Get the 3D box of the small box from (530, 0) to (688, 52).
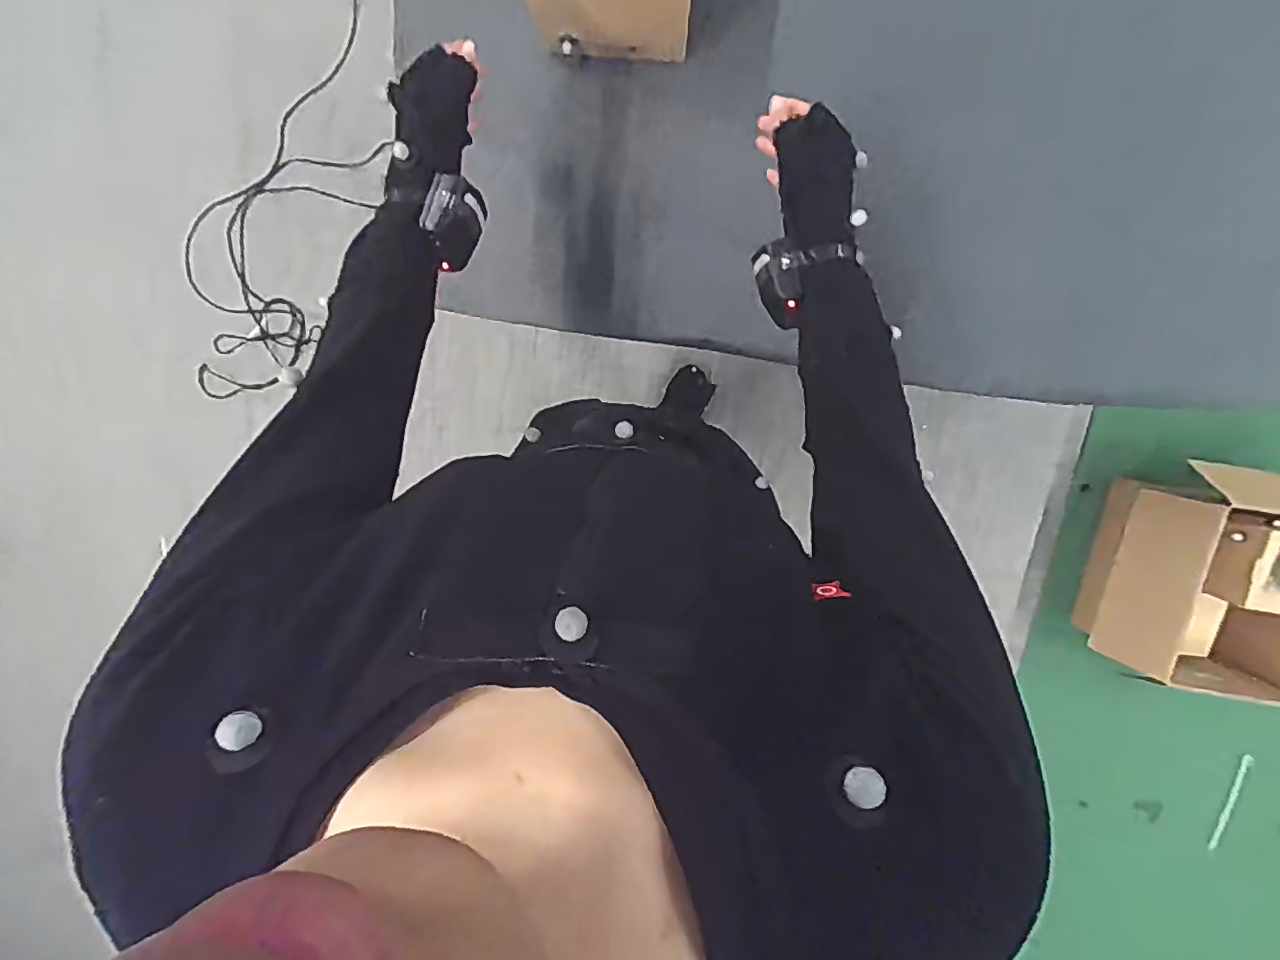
[{"bbox_3d":[-0.029,-0.567,0.534,0.168,0.176,0.179,6,102,2],"label":"small box"}]
